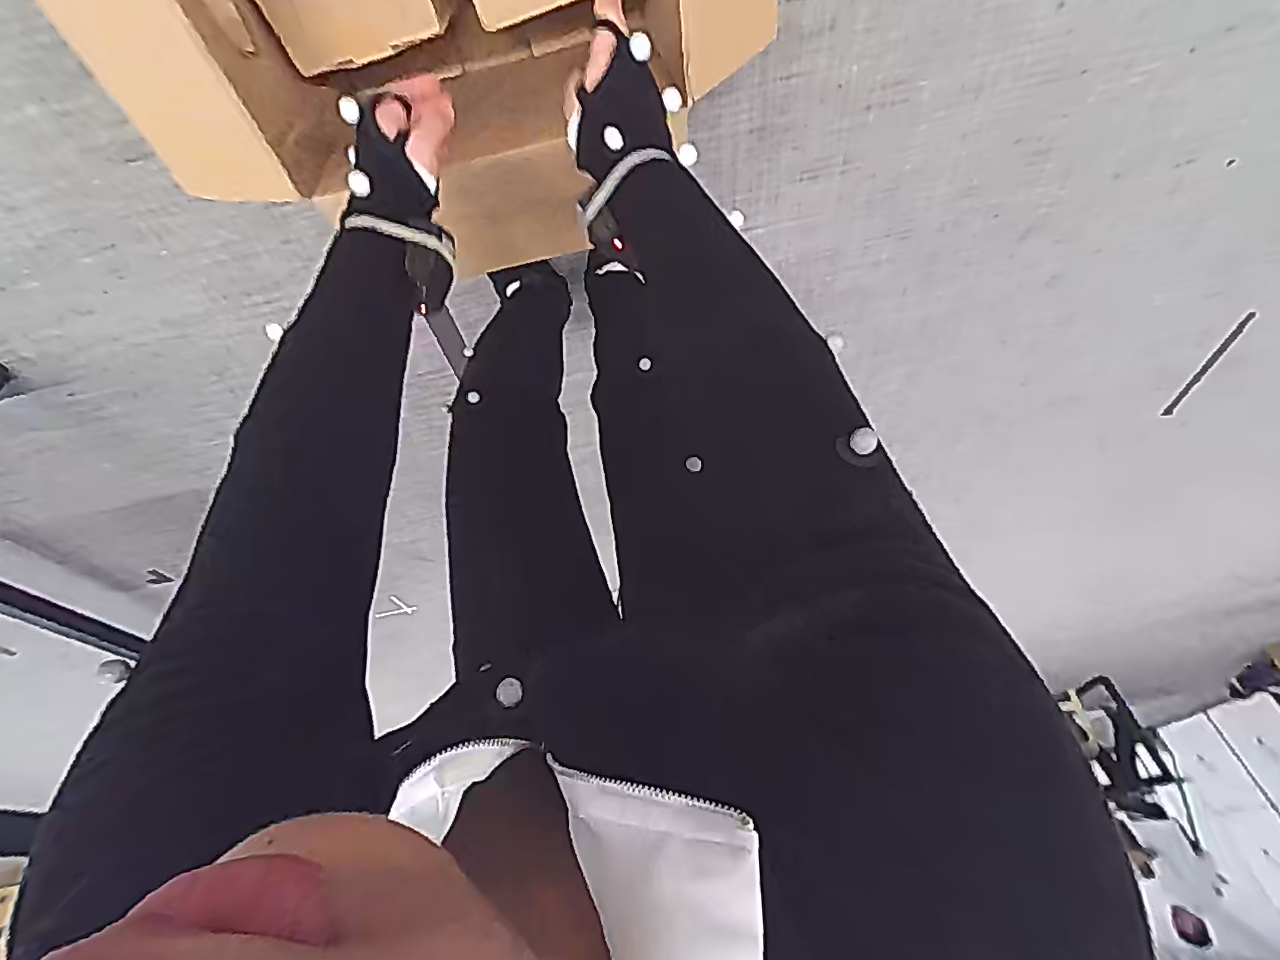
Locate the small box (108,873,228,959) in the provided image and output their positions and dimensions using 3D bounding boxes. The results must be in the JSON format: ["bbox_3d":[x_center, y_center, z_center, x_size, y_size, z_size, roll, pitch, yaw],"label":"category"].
[{"bbox_3d":[-1.137,1.053,1.284,0.179,0.176,0.168,-13,142,4],"label":"small box"}]
